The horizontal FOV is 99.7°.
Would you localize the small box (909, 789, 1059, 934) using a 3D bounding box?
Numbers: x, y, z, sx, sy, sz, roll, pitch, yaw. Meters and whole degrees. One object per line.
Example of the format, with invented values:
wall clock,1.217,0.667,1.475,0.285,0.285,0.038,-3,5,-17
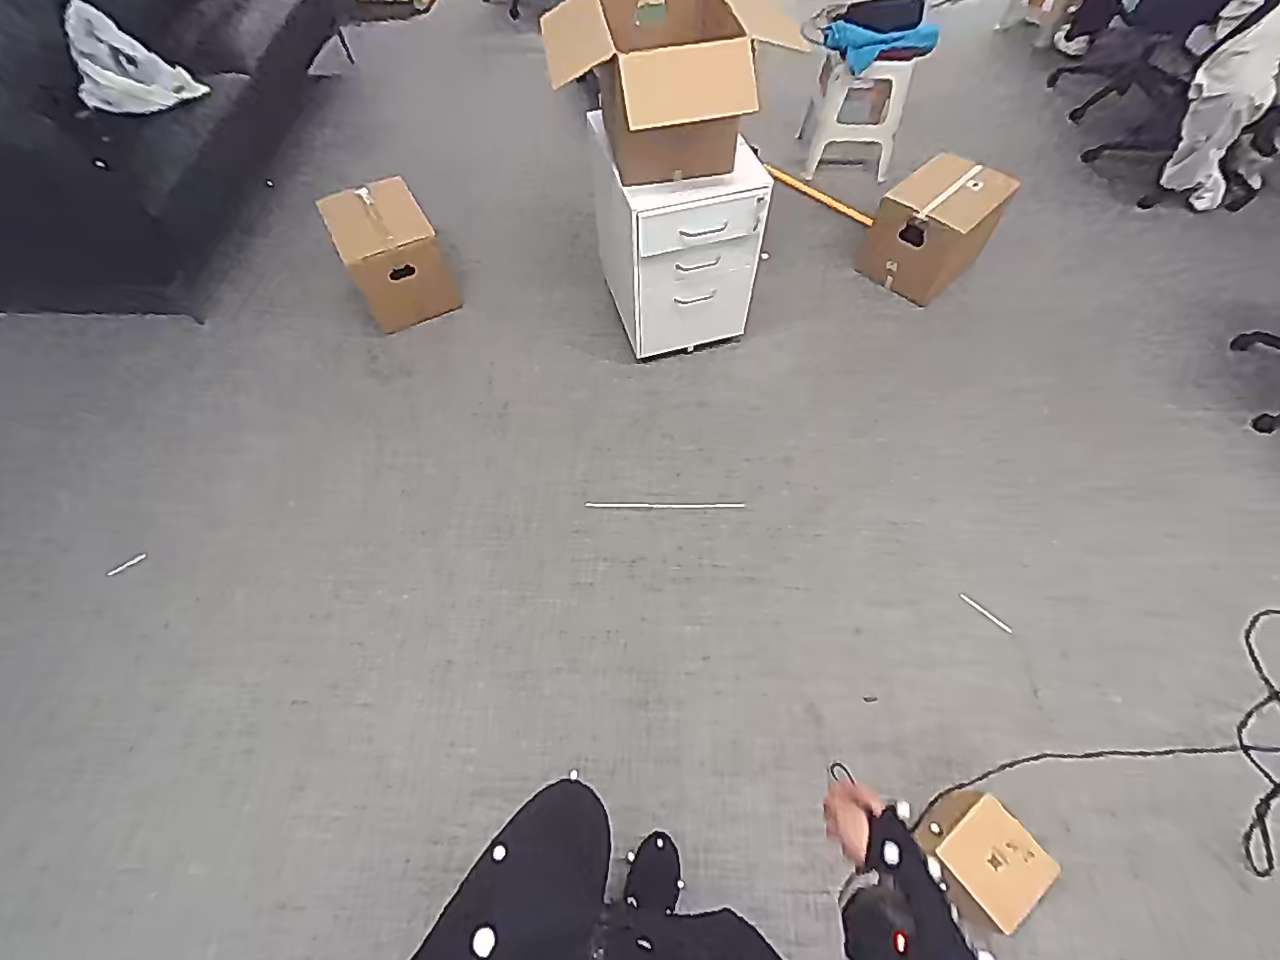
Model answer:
small box,0.682,0.765,1.102,0.179,0.176,0.168,-33,64,-17
